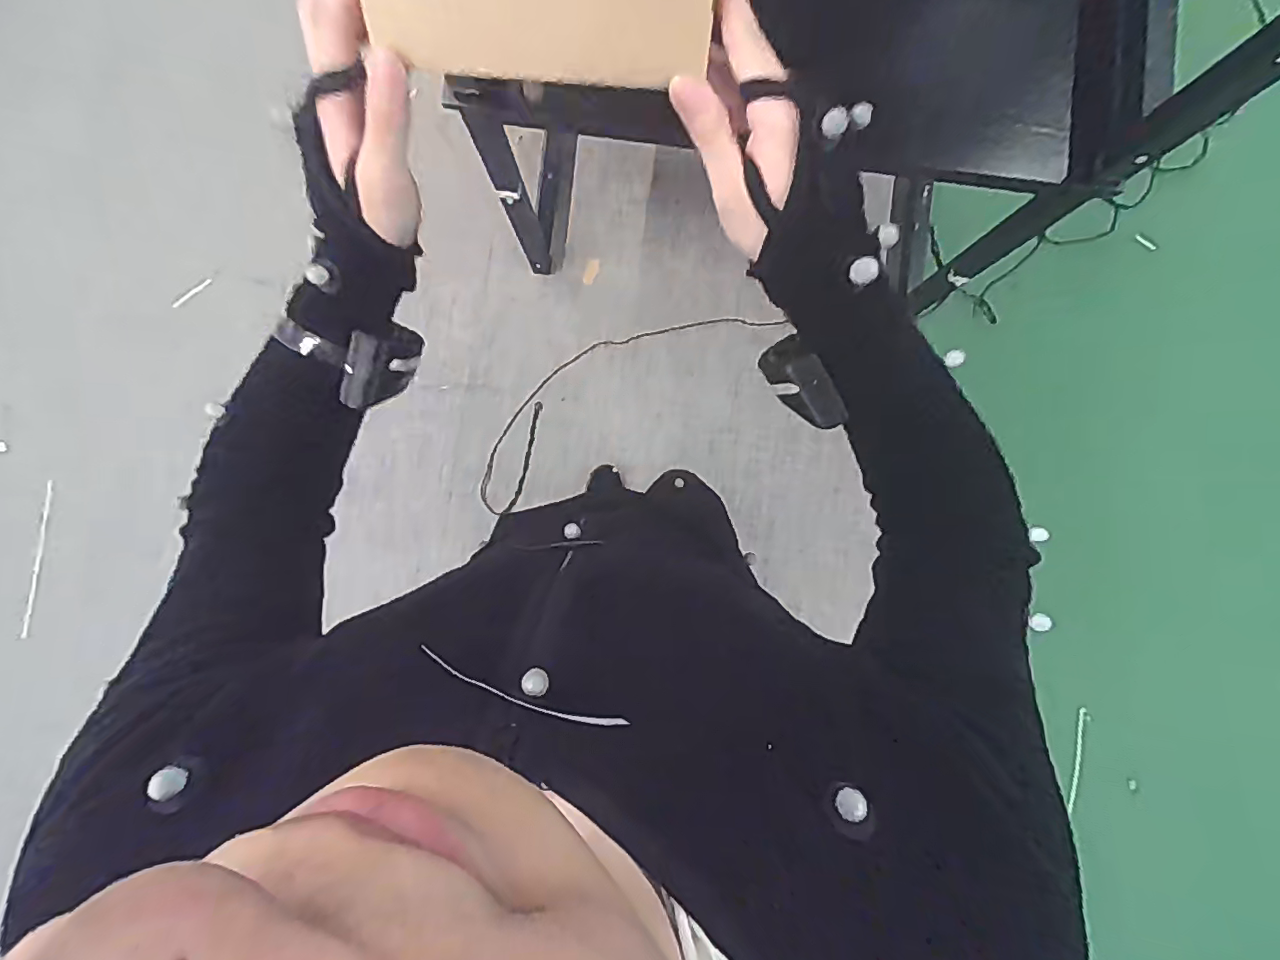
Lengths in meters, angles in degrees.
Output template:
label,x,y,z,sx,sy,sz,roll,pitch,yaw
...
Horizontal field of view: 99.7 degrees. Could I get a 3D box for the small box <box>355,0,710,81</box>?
label,x,y,z,sx,sy,sz,roll,pitch,yaw
small box,-0.050,-0.330,0.283,0.179,0.168,0.176,1,46,-4
